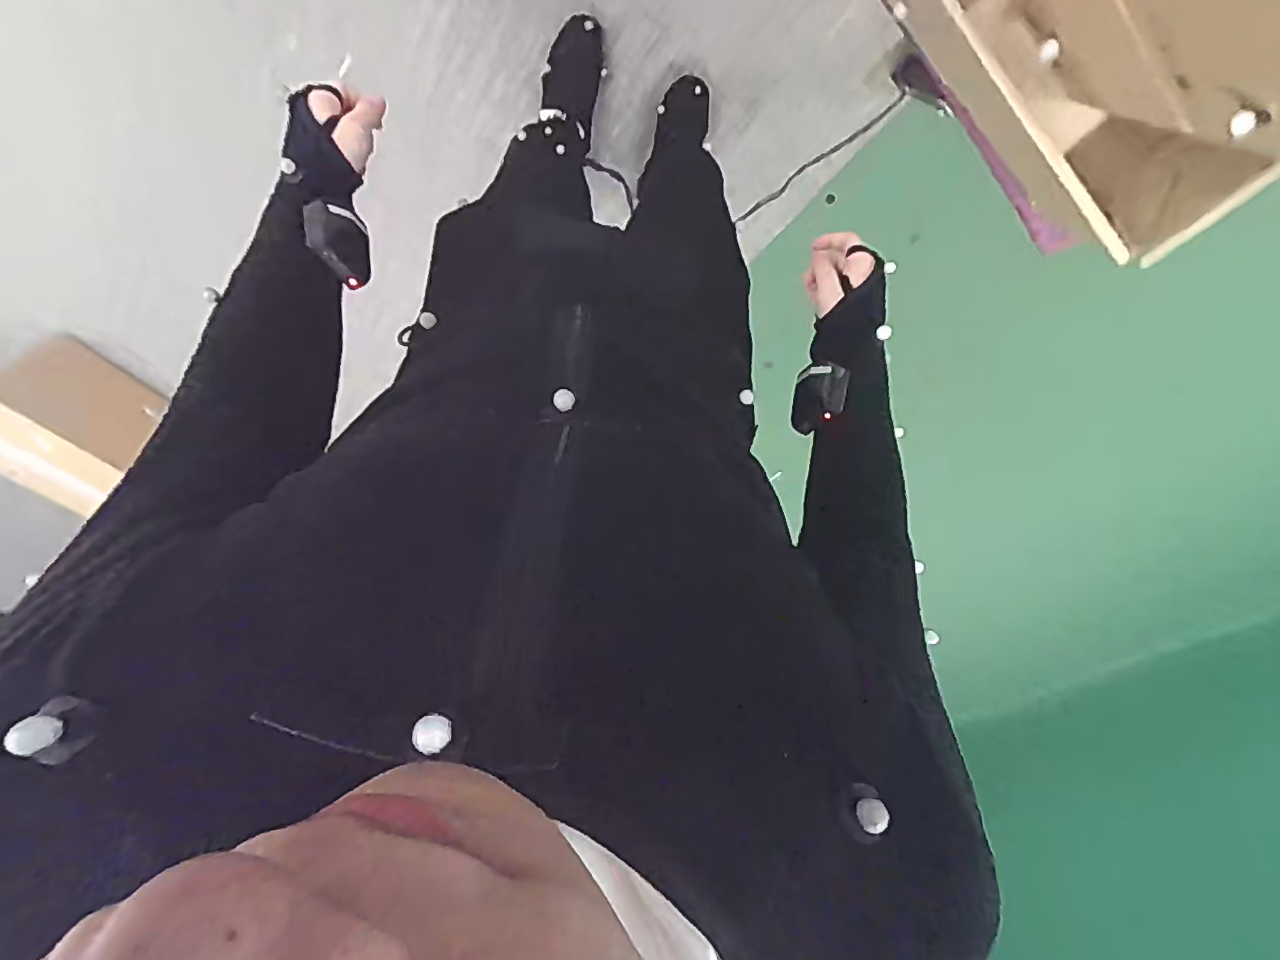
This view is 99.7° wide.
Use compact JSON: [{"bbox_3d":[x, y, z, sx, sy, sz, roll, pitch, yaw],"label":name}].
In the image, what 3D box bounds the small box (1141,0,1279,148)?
[{"bbox_3d":[0.439,-0.315,0.304,0.168,0.176,0.179,32,125,-25],"label":"small box"}]
